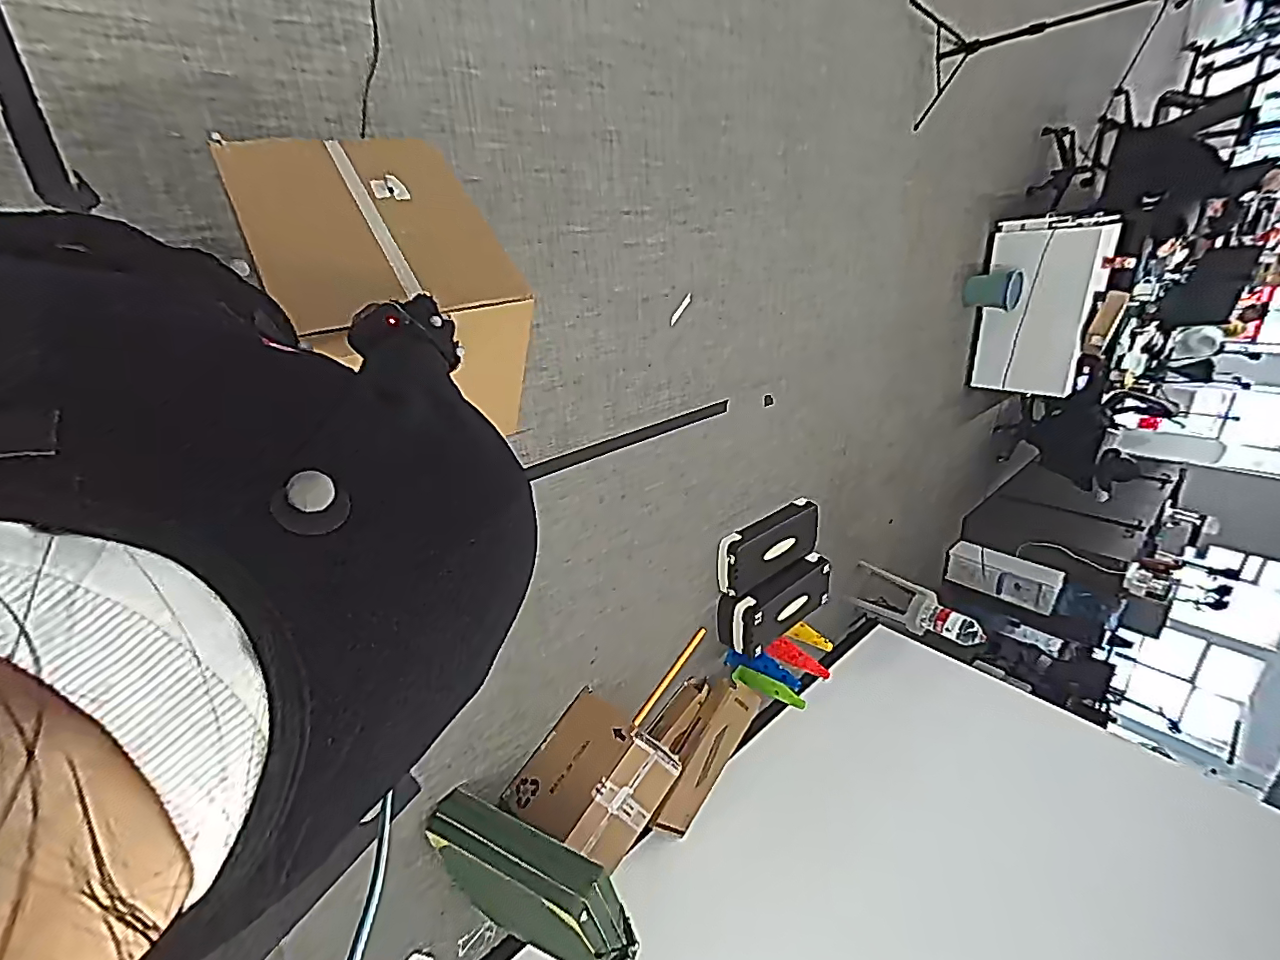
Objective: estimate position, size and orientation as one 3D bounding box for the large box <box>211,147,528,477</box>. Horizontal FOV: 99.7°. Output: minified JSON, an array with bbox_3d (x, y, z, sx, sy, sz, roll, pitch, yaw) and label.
[{"bbox_3d":[-0.423,-0.280,0.894,0.320,0.408,0.320,-21,155,-30],"label":"large box"}]
